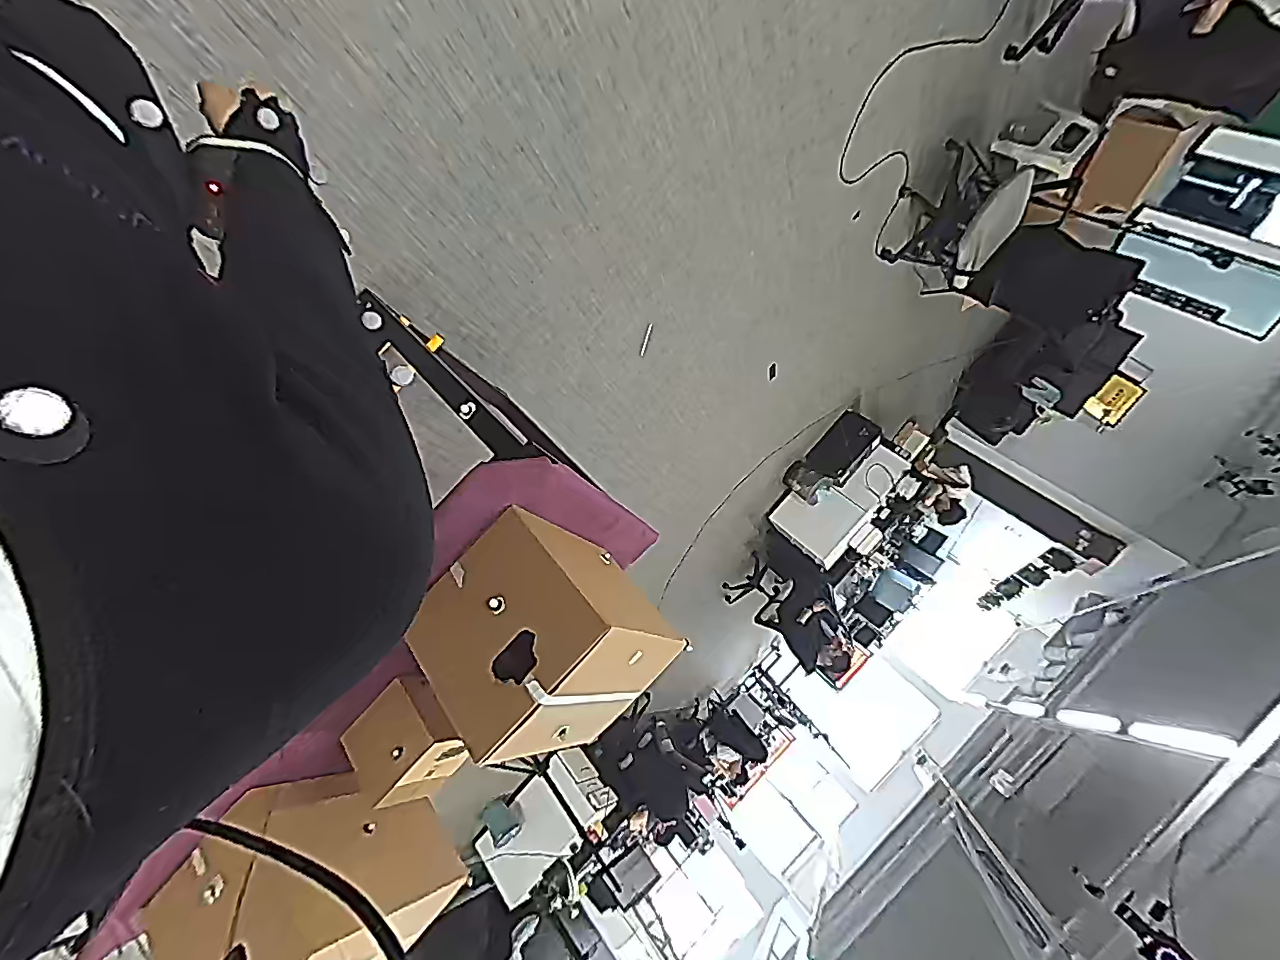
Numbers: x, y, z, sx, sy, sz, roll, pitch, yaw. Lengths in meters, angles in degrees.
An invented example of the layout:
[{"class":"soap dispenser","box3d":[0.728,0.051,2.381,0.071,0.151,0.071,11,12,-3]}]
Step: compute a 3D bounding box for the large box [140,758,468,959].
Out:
[{"class":"large box","box3d":[-0.646,0.818,1.083,0.320,0.320,0.408,-48,153,0]}]
